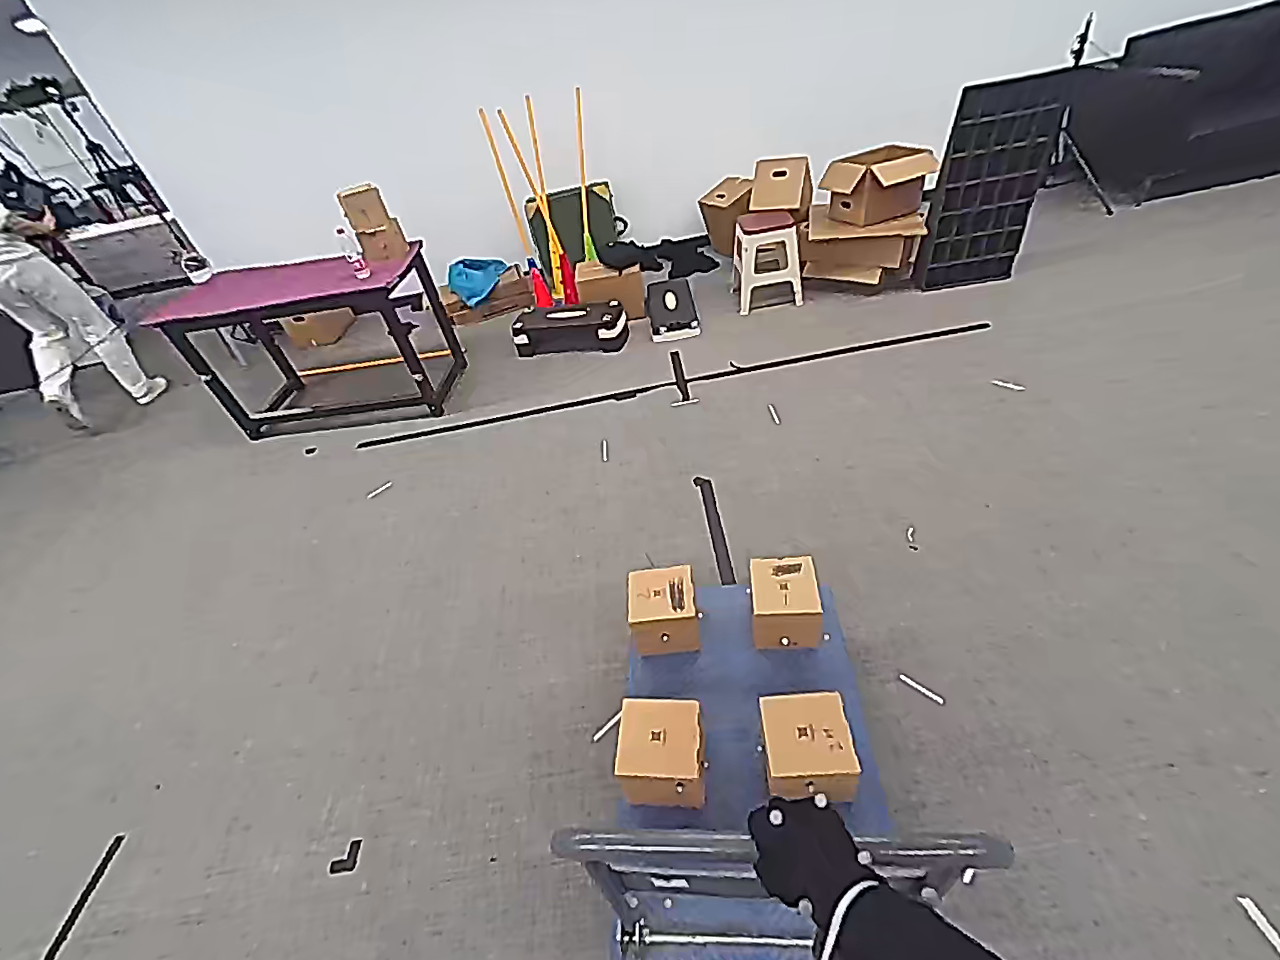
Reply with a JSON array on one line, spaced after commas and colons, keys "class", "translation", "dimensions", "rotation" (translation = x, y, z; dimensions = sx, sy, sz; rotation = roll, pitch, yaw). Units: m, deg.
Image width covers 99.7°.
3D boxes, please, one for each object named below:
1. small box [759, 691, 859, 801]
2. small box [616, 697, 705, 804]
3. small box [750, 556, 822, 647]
[{"class": "small box", "translation": [0.359, 0.580, 1.172], "dimensions": [0.179, 0.176, 0.168], "rotation": [-6, 42, 6]}, {"class": "small box", "translation": [0.053, 0.608, 1.212], "dimensions": [0.179, 0.176, 0.168], "rotation": [-2, 42, 9]}, {"class": "small box", "translation": [0.383, 0.326, 1.445], "dimensions": [0.168, 0.176, 0.179], "rotation": [-4, 43, 9]}]
